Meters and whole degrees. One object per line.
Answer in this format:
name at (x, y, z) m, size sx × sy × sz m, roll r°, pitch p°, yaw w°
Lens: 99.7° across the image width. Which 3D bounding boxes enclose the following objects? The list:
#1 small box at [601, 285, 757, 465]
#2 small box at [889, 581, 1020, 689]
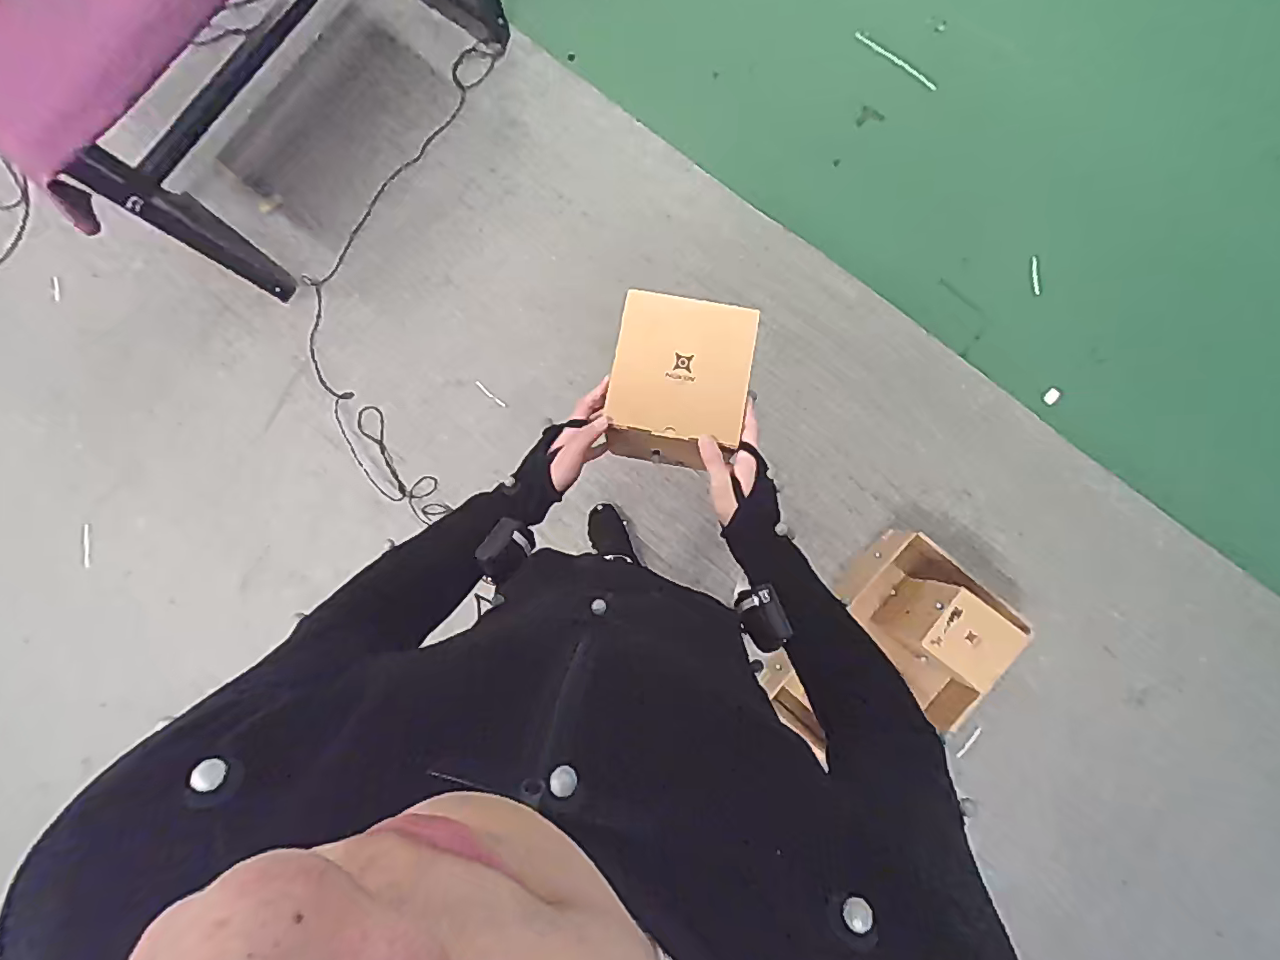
small box at (0.046, -0.128, 0.720) m, size 0.168 × 0.176 × 0.179 m, roll 10°, pitch 83°, yaw 1°
small box at (0.742, 0.359, 1.296) m, size 0.179 × 0.176 × 0.168 m, roll 39°, pitch 88°, yaw 4°
